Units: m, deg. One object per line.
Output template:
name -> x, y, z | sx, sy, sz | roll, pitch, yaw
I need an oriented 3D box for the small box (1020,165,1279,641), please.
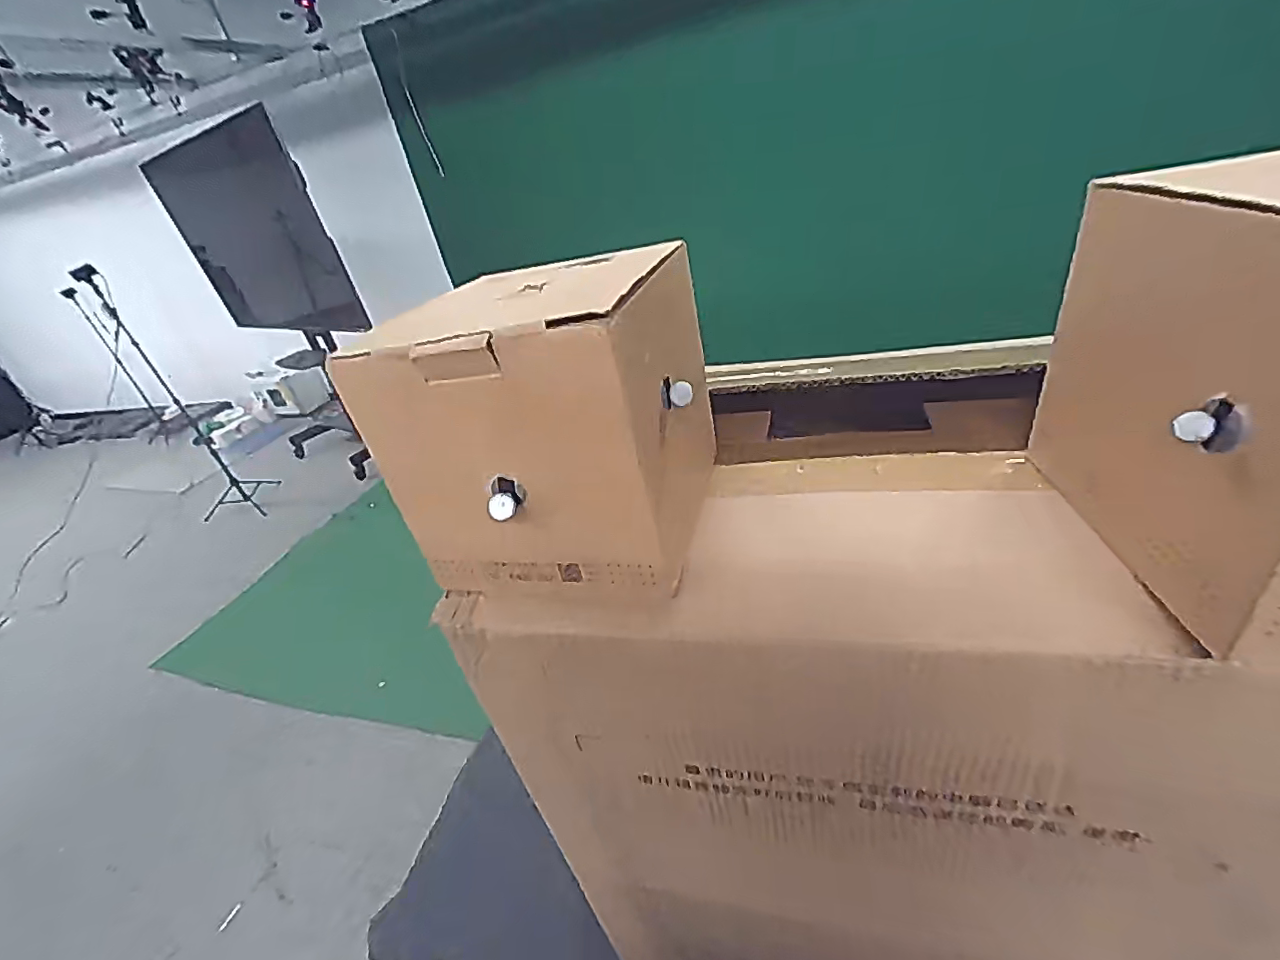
small box -> 0.313, -0.041, 0.244 | 0.168, 0.176, 0.179 | -3, 32, 10

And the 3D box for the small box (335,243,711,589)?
small box -> -0.051, -0.043, 0.371 | 0.168, 0.176, 0.179 | -1, 34, 18
